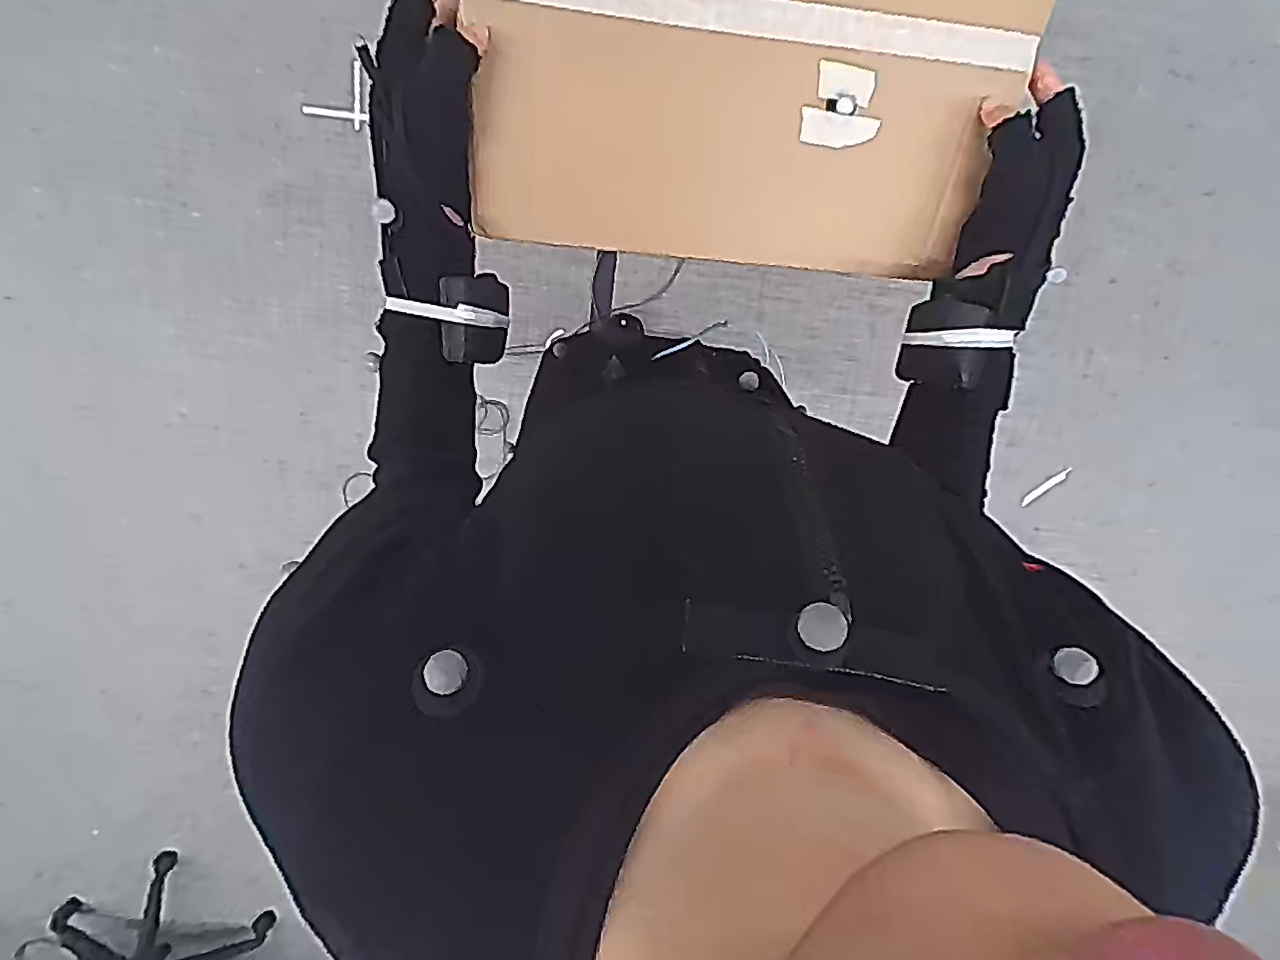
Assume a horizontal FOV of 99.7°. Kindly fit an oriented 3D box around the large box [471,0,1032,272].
[{"bbox_3d":[0.067,-0.394,0.513,0.408,0.320,0.320,2,119,-7],"label":"large box"}]
